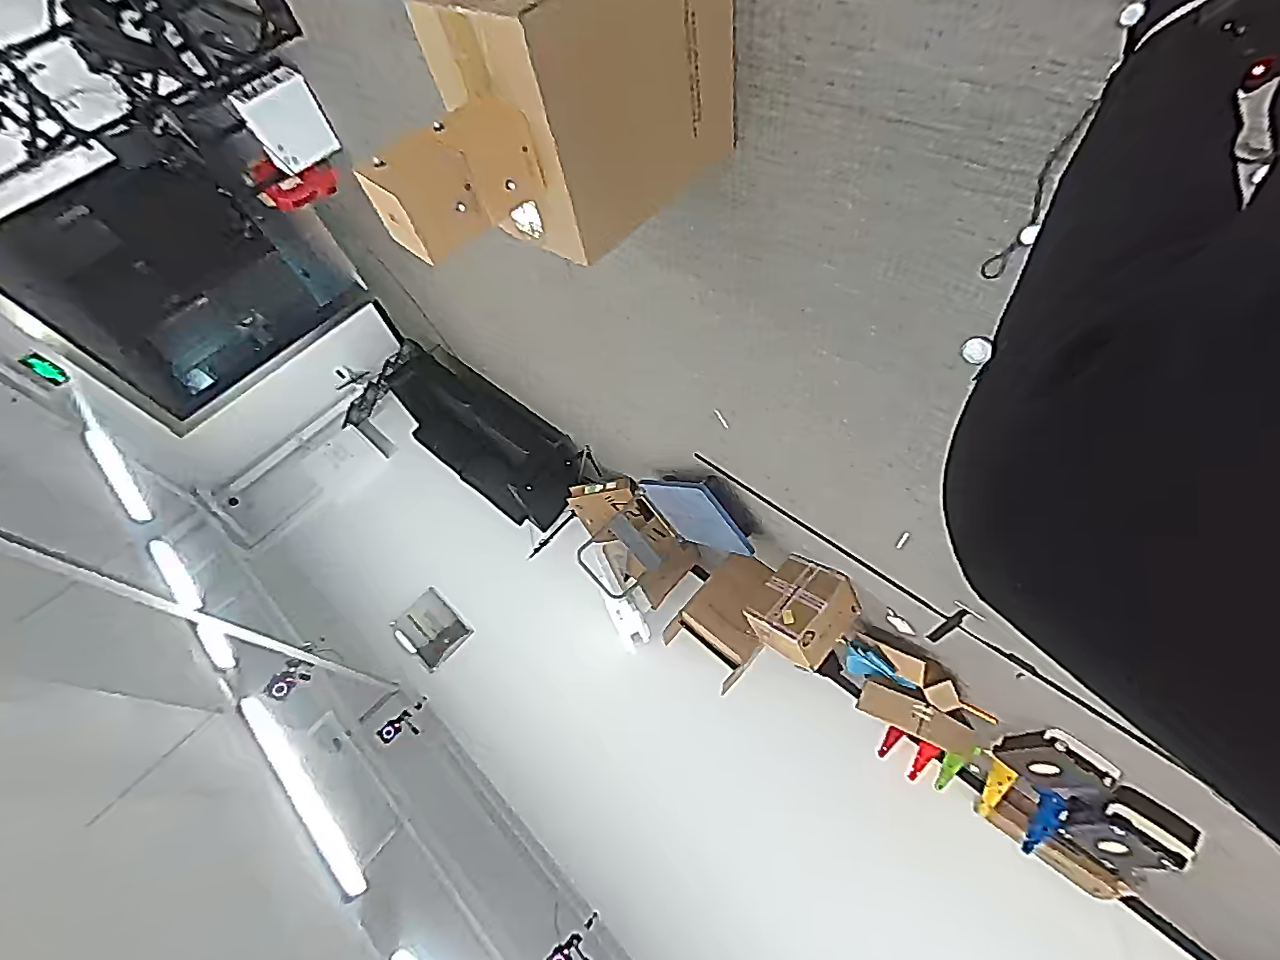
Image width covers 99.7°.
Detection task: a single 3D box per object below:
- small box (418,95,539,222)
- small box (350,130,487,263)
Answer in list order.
[{"bbox_3d":[-0.345,-0.714,1.197,0.179,0.176,0.168,36,161,26],"label":"small box"},{"bbox_3d":[-0.462,-0.606,1.149,0.179,0.176,0.168,37,162,24],"label":"small box"}]
